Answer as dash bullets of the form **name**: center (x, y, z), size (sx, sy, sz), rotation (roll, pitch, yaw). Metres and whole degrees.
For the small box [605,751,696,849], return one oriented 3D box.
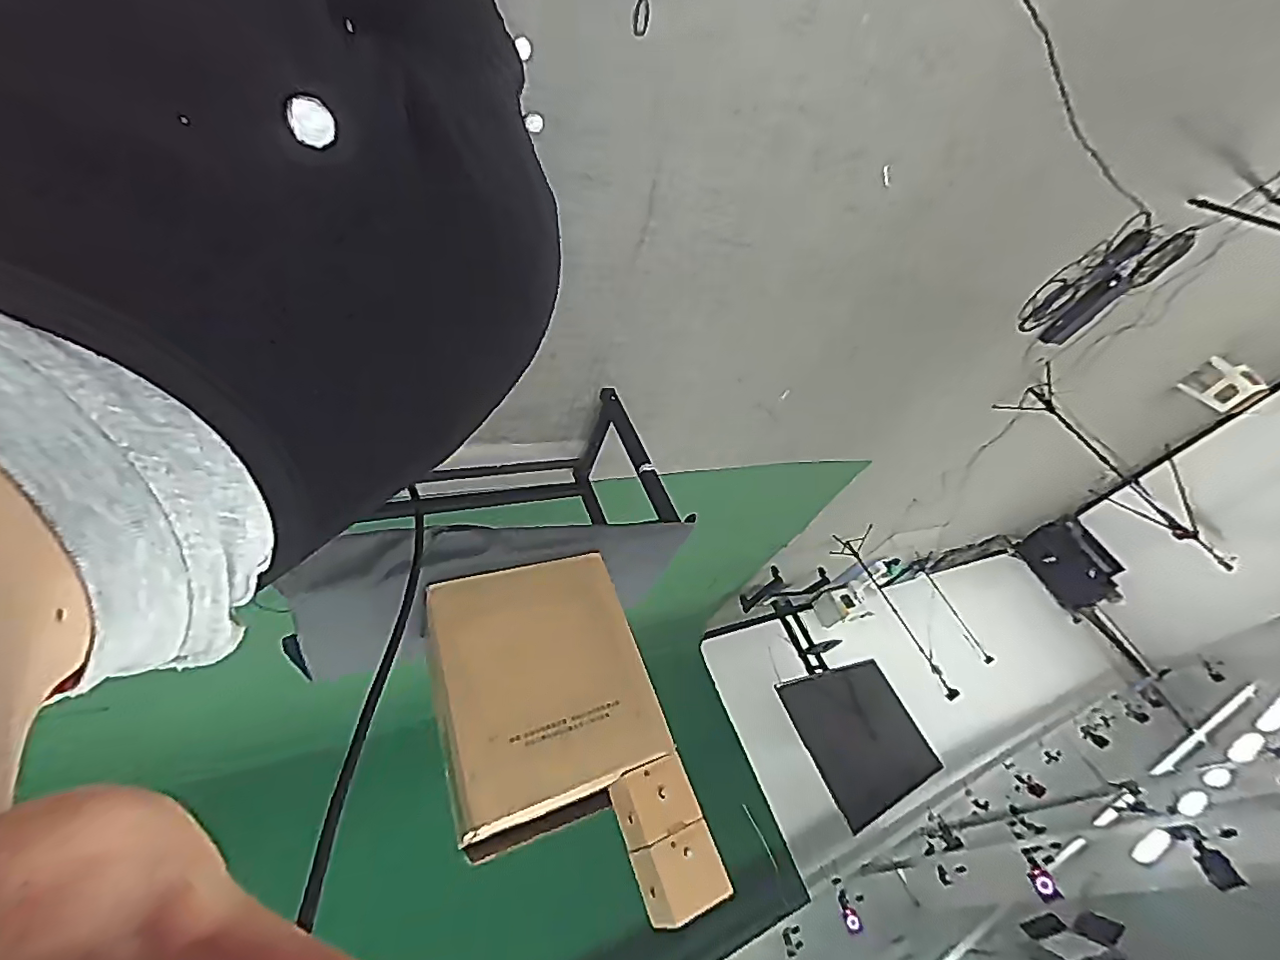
- **small box**: center (0.020, 0.849, 1.446), size (0.168, 0.176, 0.179), rotation (-9, 146, -27)

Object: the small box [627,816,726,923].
- **small box**: center (0.082, 0.978, 1.365), size (0.168, 0.176, 0.179), rotation (-9, 146, -28)
